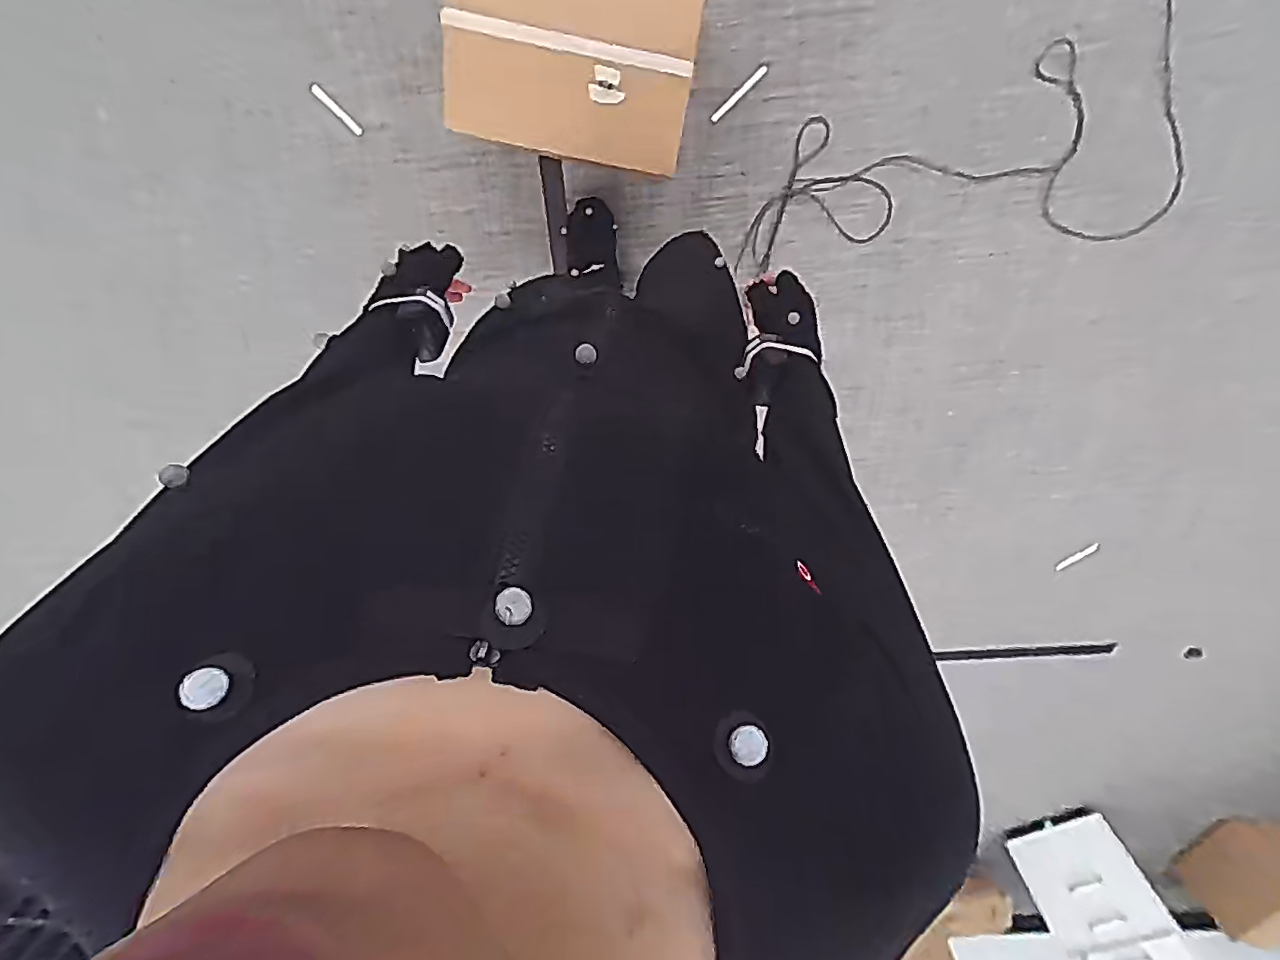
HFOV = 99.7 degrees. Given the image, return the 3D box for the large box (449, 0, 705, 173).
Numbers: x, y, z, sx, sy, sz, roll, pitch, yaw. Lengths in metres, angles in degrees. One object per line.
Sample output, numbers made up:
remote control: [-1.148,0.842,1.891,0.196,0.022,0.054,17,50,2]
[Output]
large box: [-0.110,-0.784,1.003,0.408,0.320,0.320,9,119,-5]
